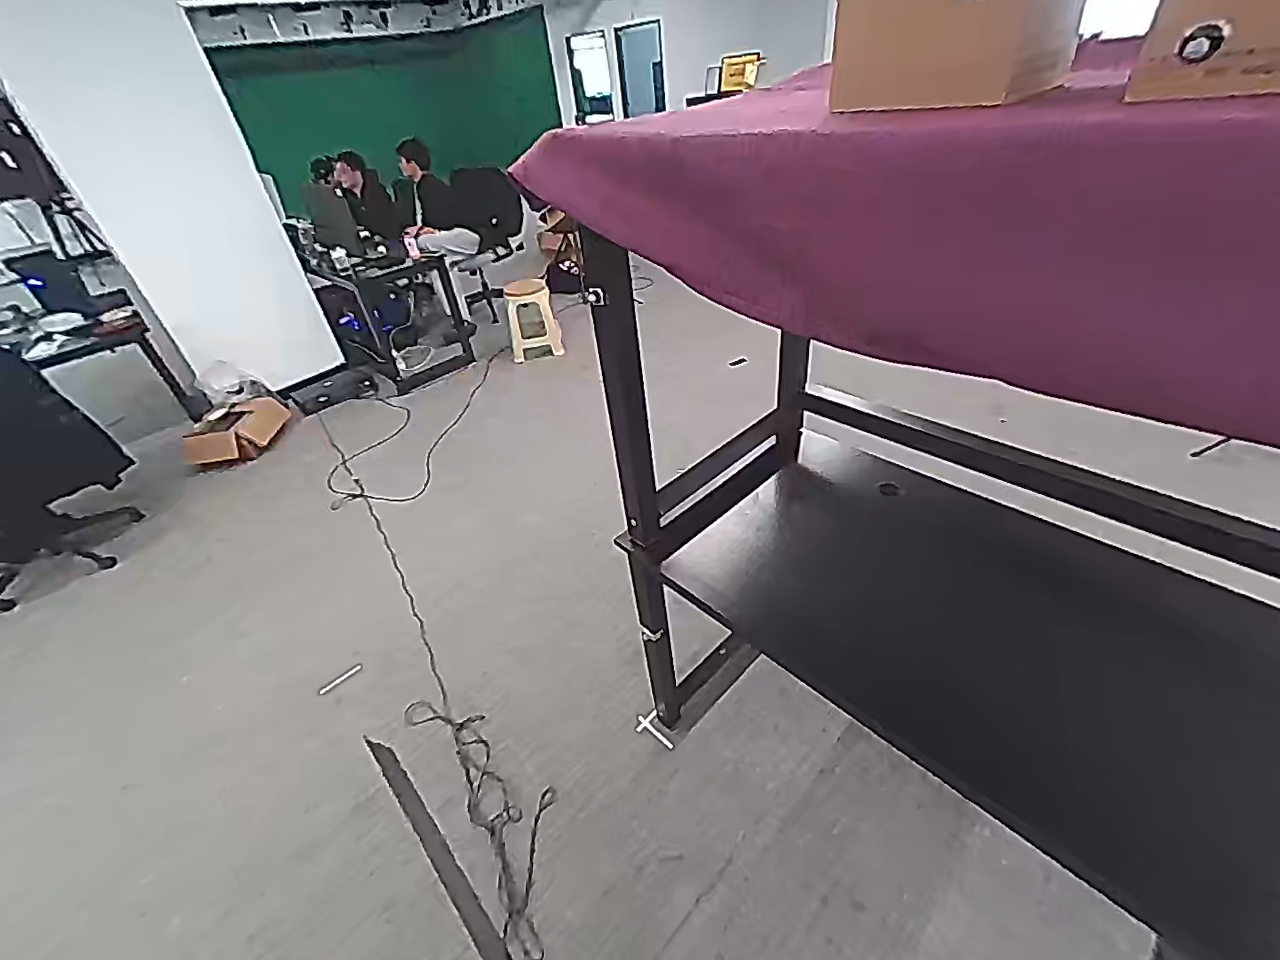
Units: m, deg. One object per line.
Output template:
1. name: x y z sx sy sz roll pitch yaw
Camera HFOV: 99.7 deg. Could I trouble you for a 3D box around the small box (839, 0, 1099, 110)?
1. small box: 0.309 -0.457 0.500 0.168 0.176 0.179 -33 43 -30
